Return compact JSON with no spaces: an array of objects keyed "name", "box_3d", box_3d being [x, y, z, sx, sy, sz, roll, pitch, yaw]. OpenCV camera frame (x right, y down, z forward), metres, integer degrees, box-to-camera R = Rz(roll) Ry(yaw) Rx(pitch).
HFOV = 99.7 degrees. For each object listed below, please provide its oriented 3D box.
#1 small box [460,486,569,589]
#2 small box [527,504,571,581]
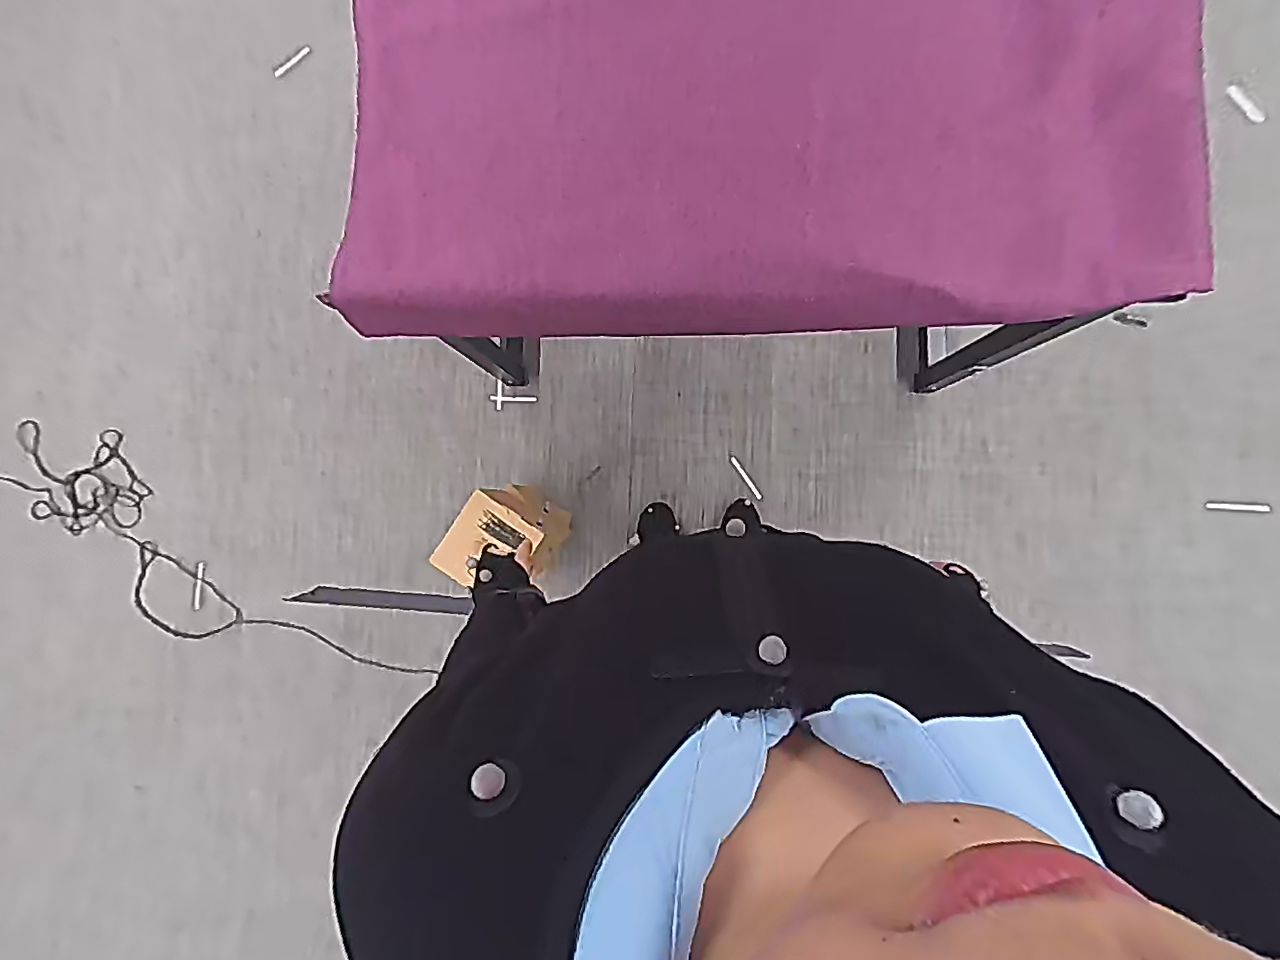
[{"name":"small box","box_3d":[-0.288,0.132,1.292,0.179,0.176,0.168,-44,85,0]},{"name":"small box","box_3d":[-0.300,0.149,1.457,0.168,0.176,0.179,25,89,4]}]
